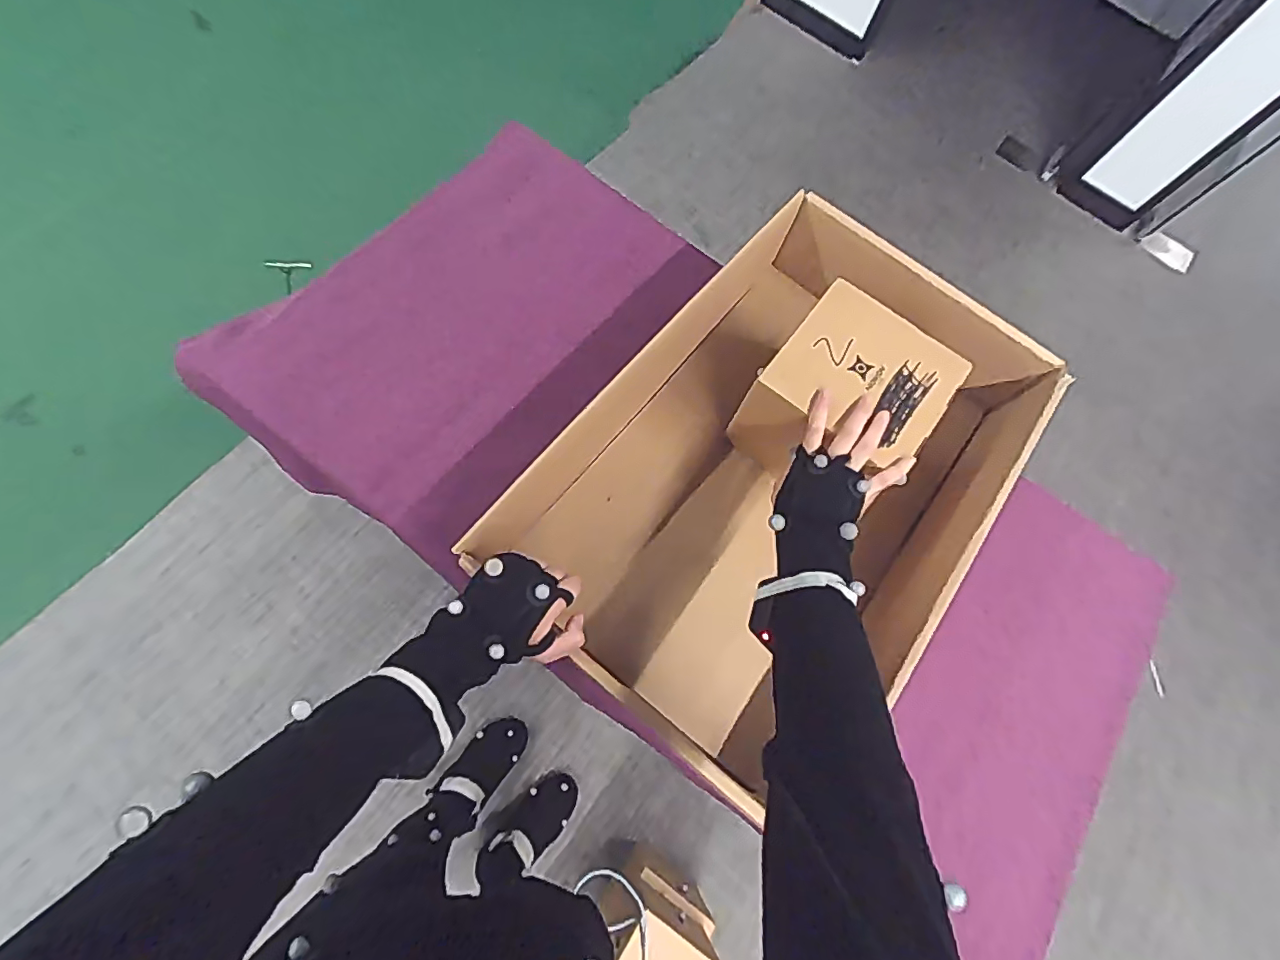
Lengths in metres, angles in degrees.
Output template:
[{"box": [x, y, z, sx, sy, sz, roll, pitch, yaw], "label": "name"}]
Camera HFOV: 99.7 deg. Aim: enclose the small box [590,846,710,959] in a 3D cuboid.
[{"box": [0.014, 0.901, 1.112, 0.179, 0.176, 0.168, 36, 71, 6], "label": "small box"}]
